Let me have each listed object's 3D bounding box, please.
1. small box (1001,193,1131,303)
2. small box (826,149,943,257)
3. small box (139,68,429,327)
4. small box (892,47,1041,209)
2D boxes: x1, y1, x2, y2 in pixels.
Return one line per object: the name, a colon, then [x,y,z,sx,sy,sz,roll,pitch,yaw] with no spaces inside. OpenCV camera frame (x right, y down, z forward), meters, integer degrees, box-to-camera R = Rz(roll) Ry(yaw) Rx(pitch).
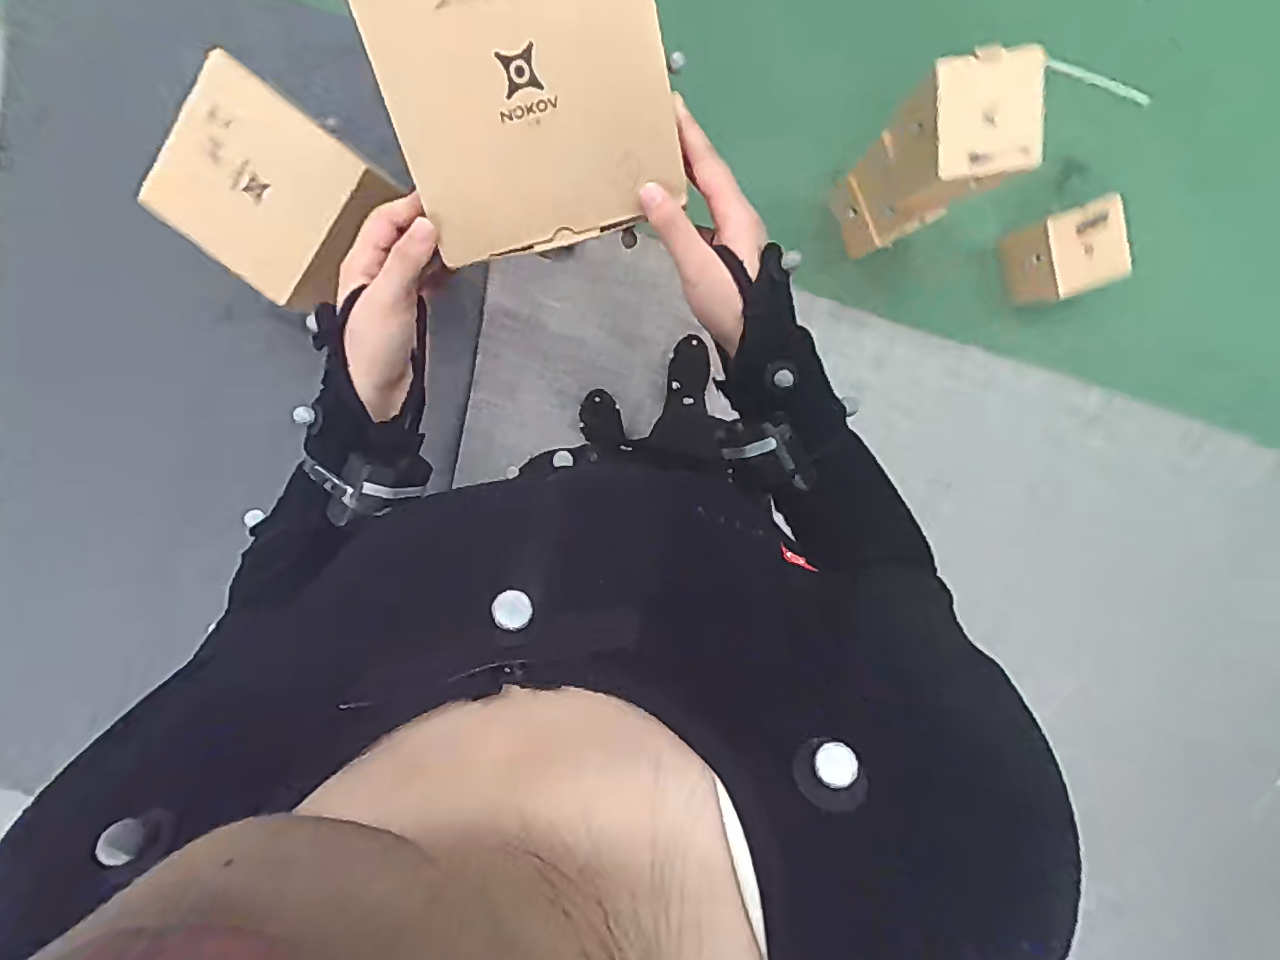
small box: [0.996,-0.538,1.280,0.168,0.176,0.179,-20,102,5]
small box: [0.564,-0.644,1.266,0.168,0.176,0.179,-27,99,6]
small box: [-0.373,-0.287,0.602,0.179,0.176,0.168,37,100,-4]
small box: [0.556,-0.598,0.940,0.168,0.176,0.179,-8,101,3]
